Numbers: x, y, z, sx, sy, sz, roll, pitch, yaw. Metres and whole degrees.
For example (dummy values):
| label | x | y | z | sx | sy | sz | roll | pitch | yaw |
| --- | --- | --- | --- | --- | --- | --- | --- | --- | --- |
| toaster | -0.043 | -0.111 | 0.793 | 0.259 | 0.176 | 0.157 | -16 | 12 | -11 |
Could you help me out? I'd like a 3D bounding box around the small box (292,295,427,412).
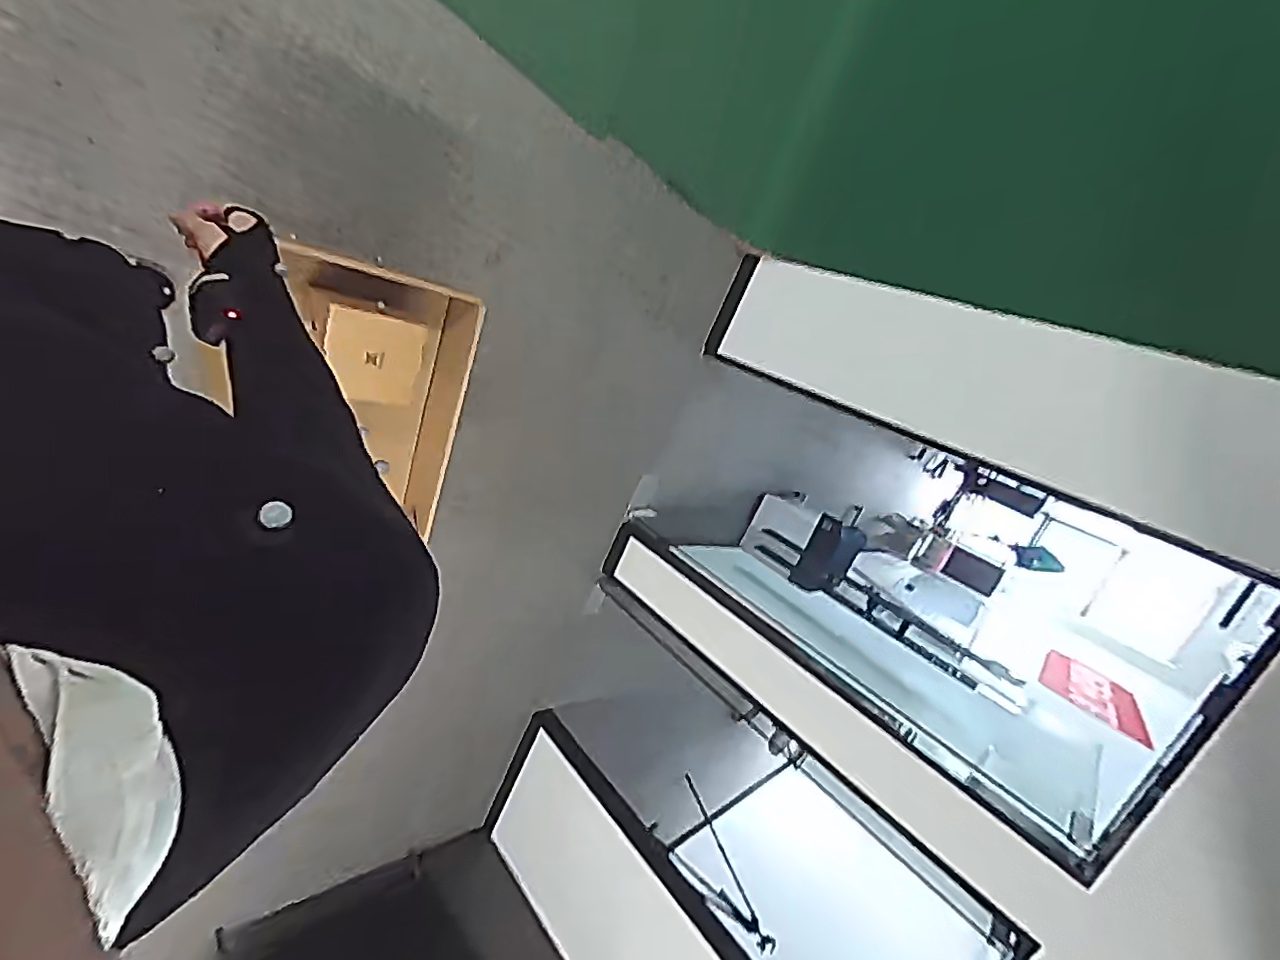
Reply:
| label | x | y | z | sx | sy | sz | roll | pitch | yaw |
| --- | --- | --- | --- | --- | --- | --- | --- | --- | --- |
| small box | -0.548 | -0.245 | 1.047 | 0.179 | 0.176 | 0.168 | 1 | 115 | -49 |
